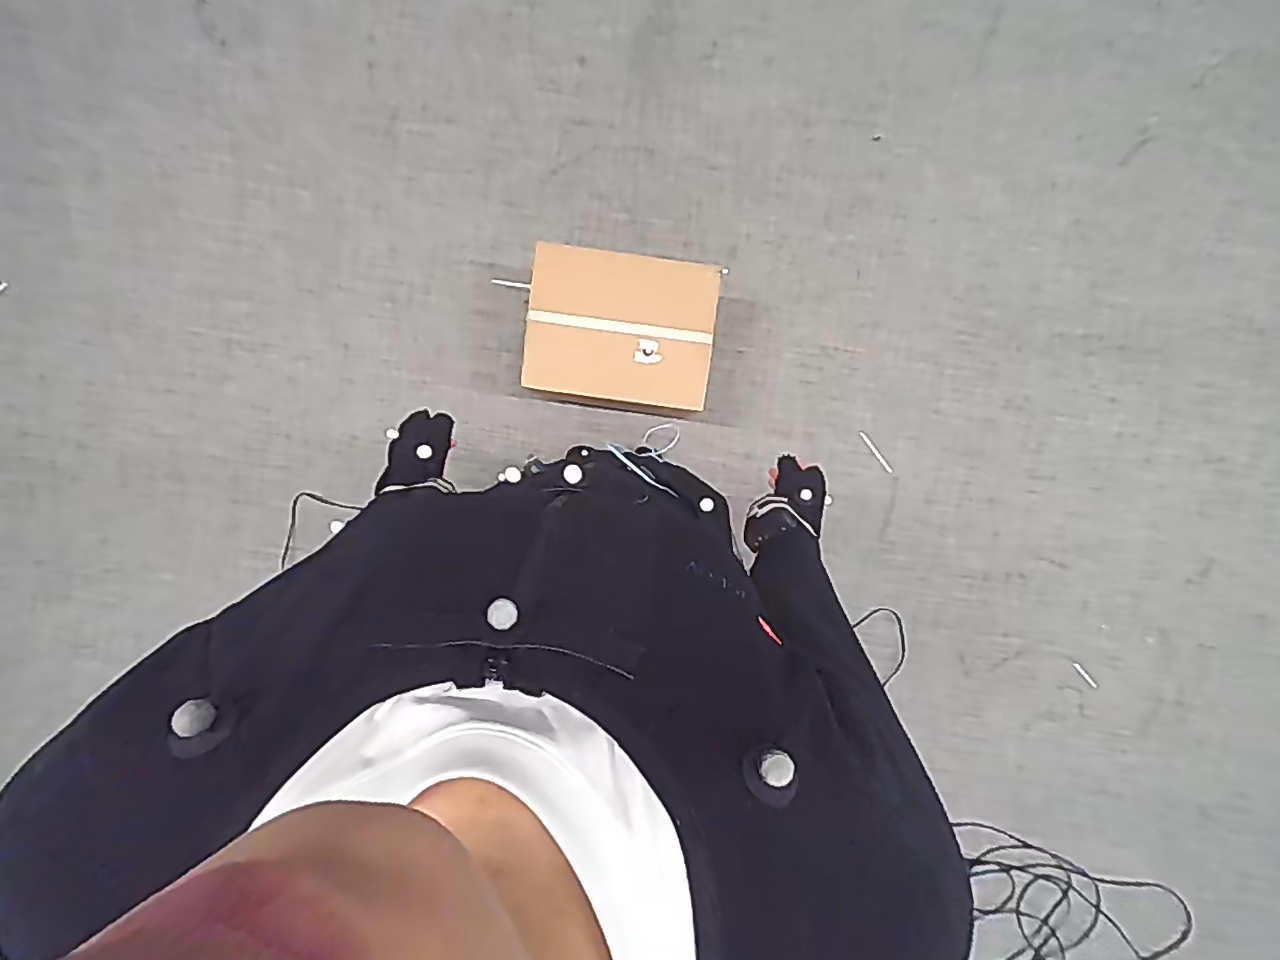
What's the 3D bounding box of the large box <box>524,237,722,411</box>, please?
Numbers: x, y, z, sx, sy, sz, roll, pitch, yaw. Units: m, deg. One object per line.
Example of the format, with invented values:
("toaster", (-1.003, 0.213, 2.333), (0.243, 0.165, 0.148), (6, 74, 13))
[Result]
("large box", (-0.042, -0.352, 1.311), (0.408, 0.320, 0.320), (8, 94, -2))
